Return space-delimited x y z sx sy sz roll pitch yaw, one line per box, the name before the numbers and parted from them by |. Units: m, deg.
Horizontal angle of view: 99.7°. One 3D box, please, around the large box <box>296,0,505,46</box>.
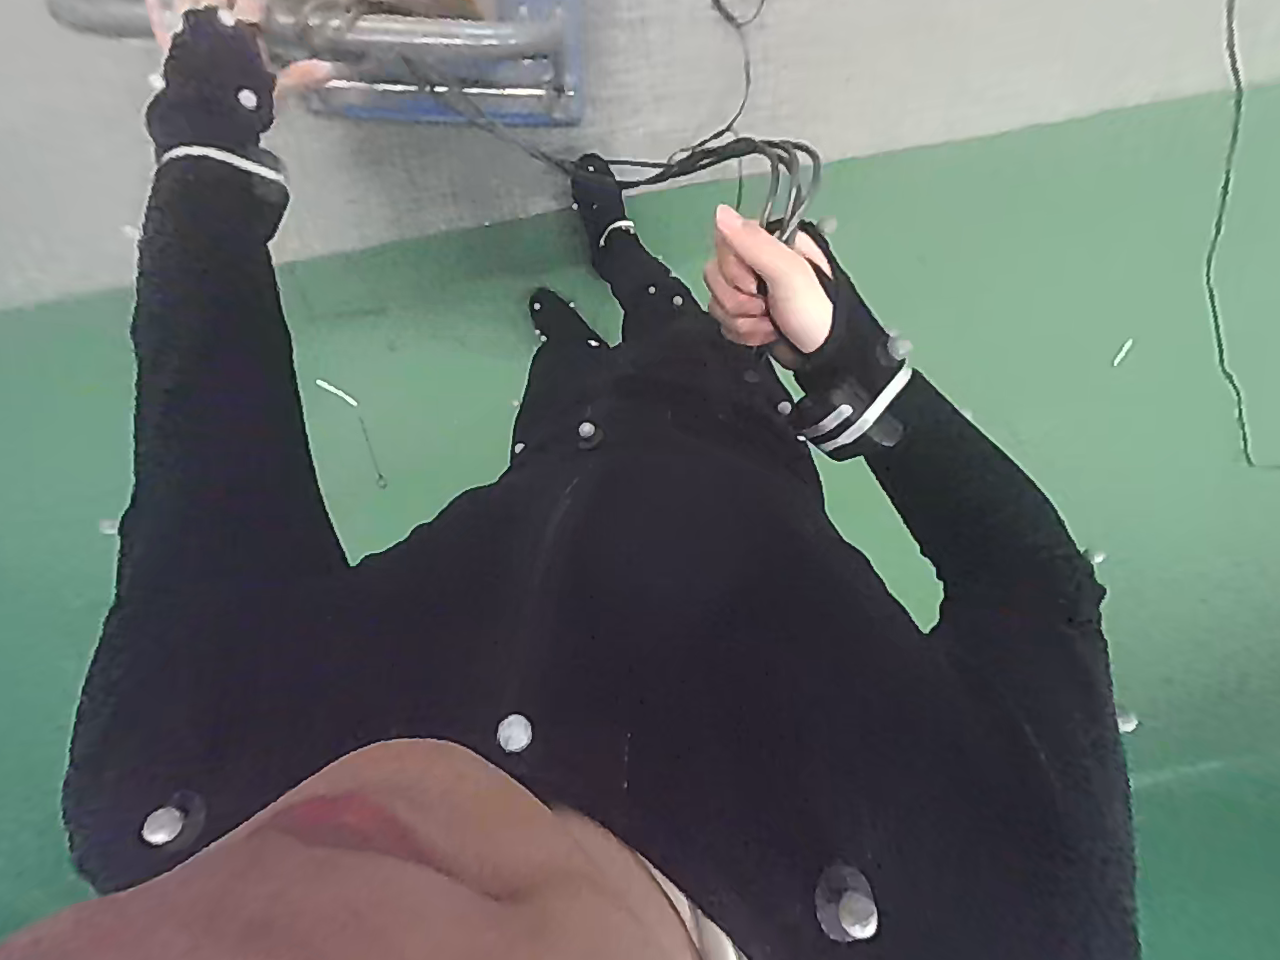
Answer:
large box | -0.401 -0.969 0.842 0.320 0.320 0.408 -1 115 -7
